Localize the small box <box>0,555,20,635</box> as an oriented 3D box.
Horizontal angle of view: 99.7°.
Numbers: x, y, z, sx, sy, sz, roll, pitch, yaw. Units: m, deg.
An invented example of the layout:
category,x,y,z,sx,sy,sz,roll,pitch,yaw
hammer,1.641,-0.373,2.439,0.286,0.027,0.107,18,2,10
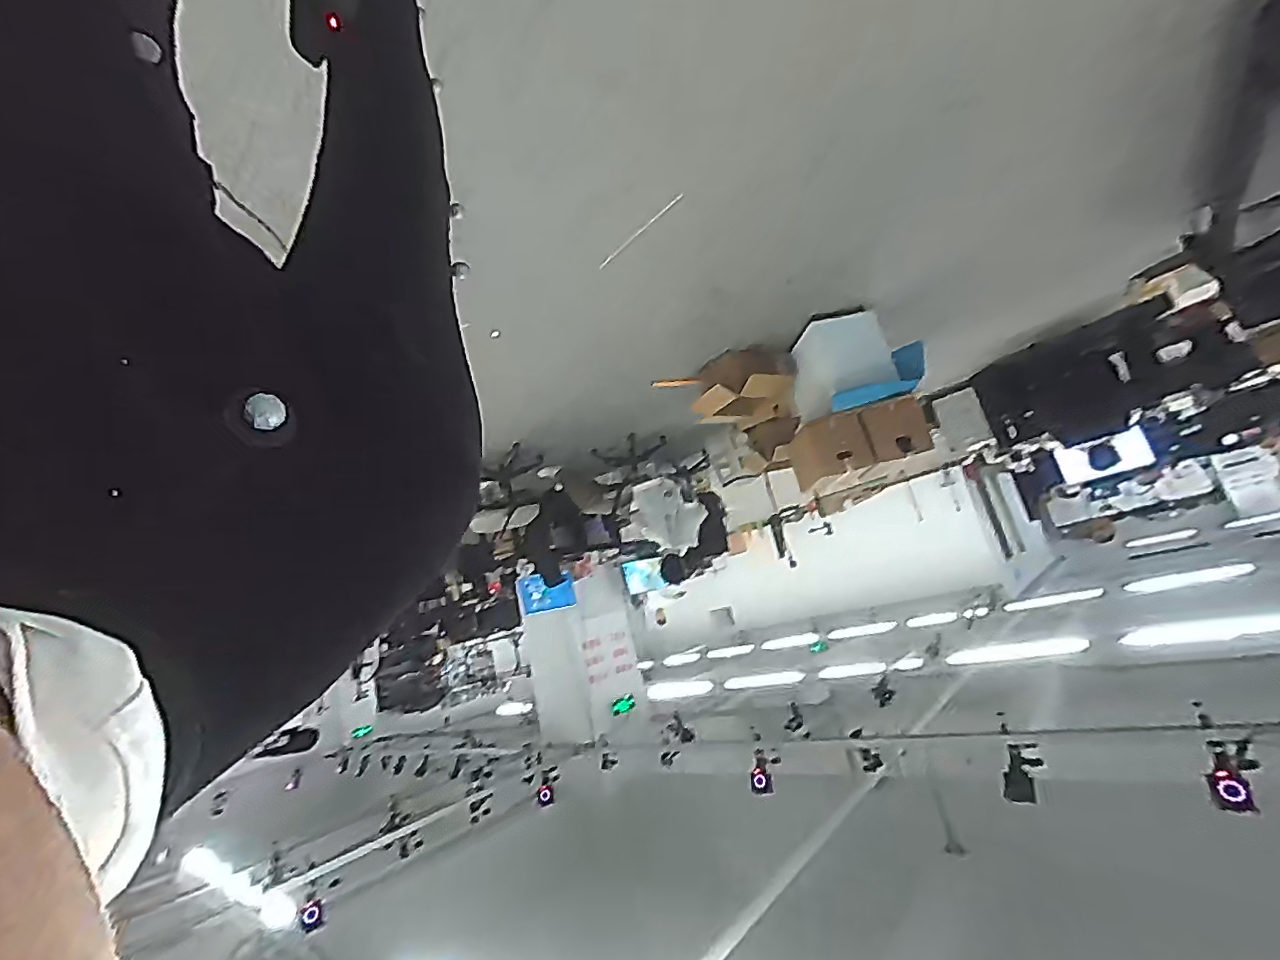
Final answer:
category,x,y,z,sx,sy,sz,roll,pitch,yaw
small box,-1.624,0.284,1.294,0.179,0.176,0.168,-1,161,-46
